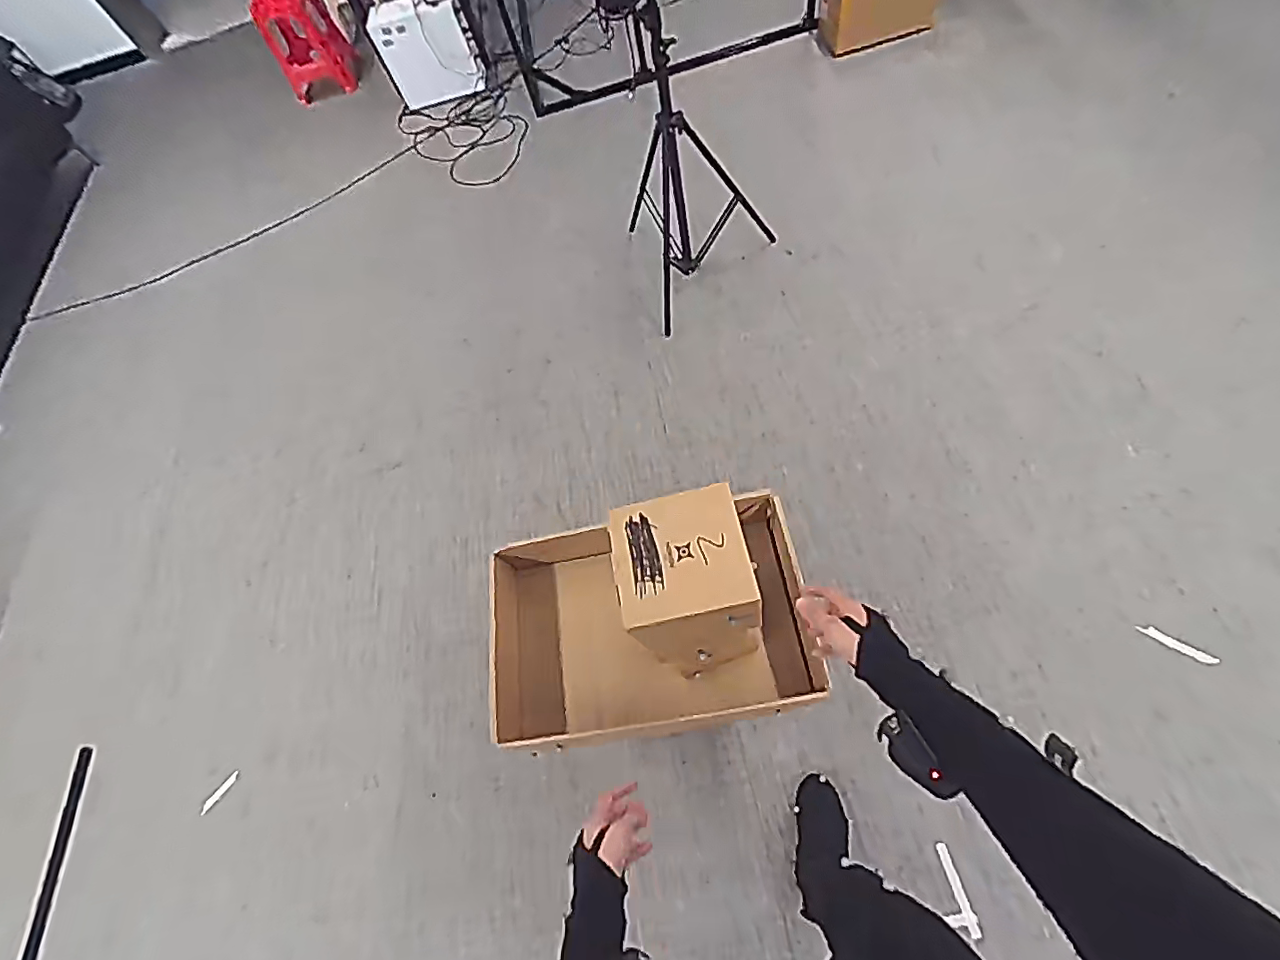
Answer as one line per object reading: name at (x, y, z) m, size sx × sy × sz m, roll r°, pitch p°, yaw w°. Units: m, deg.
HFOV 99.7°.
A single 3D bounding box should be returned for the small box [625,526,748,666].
small box at (0.082, 0.202, 0.914) m, size 0.168 × 0.176 × 0.179 m, roll -14°, pitch 63°, yaw 7°
